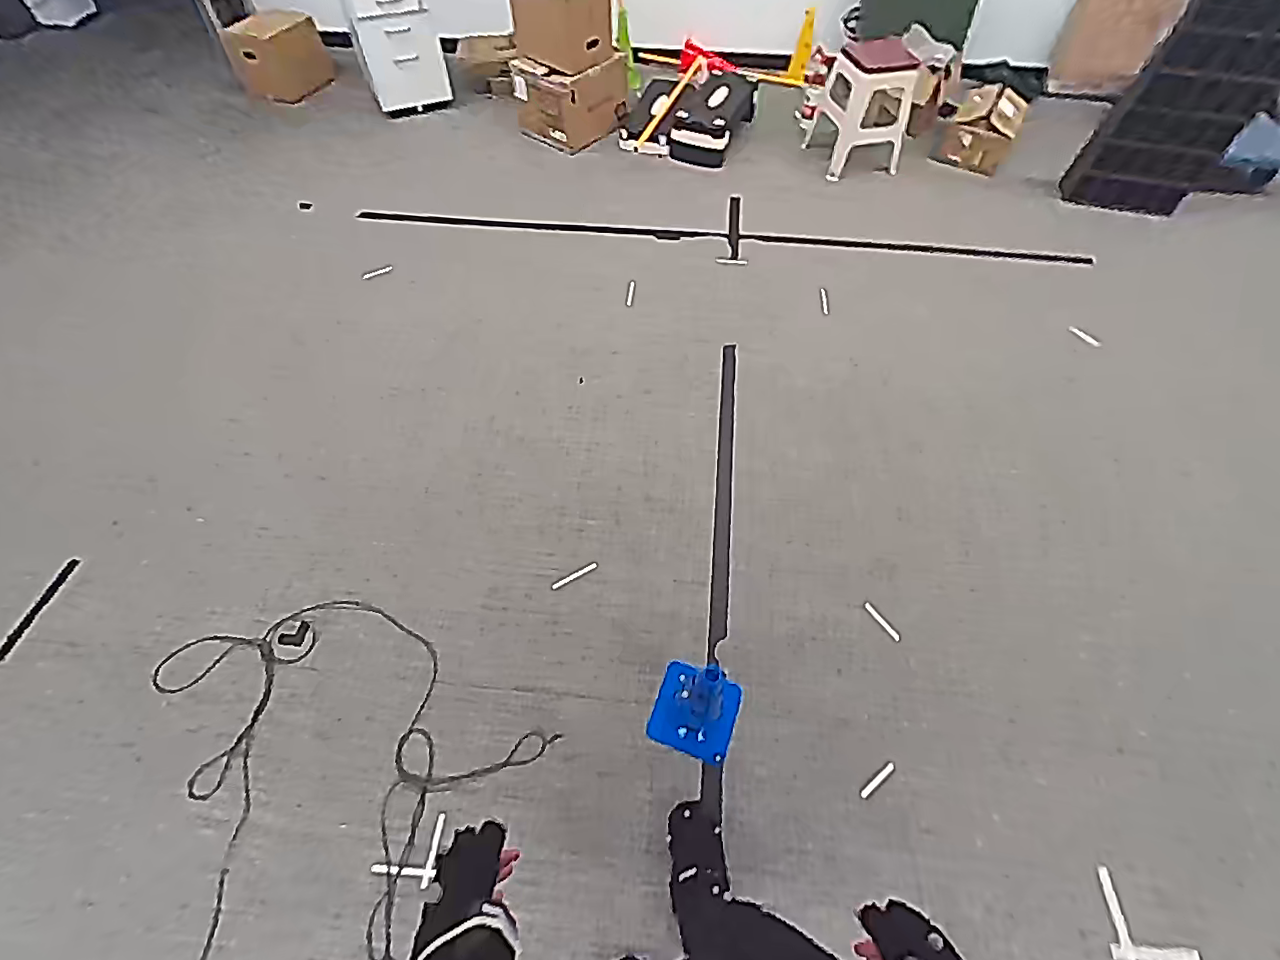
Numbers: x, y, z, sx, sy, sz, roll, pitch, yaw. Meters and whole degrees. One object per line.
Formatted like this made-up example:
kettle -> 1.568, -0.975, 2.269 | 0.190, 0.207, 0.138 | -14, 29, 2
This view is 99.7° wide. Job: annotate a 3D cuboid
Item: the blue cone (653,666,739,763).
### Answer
blue cone -> 0.144, 0.486, 1.207 | 0.192, 0.380, 0.193 | 20, 58, 11
